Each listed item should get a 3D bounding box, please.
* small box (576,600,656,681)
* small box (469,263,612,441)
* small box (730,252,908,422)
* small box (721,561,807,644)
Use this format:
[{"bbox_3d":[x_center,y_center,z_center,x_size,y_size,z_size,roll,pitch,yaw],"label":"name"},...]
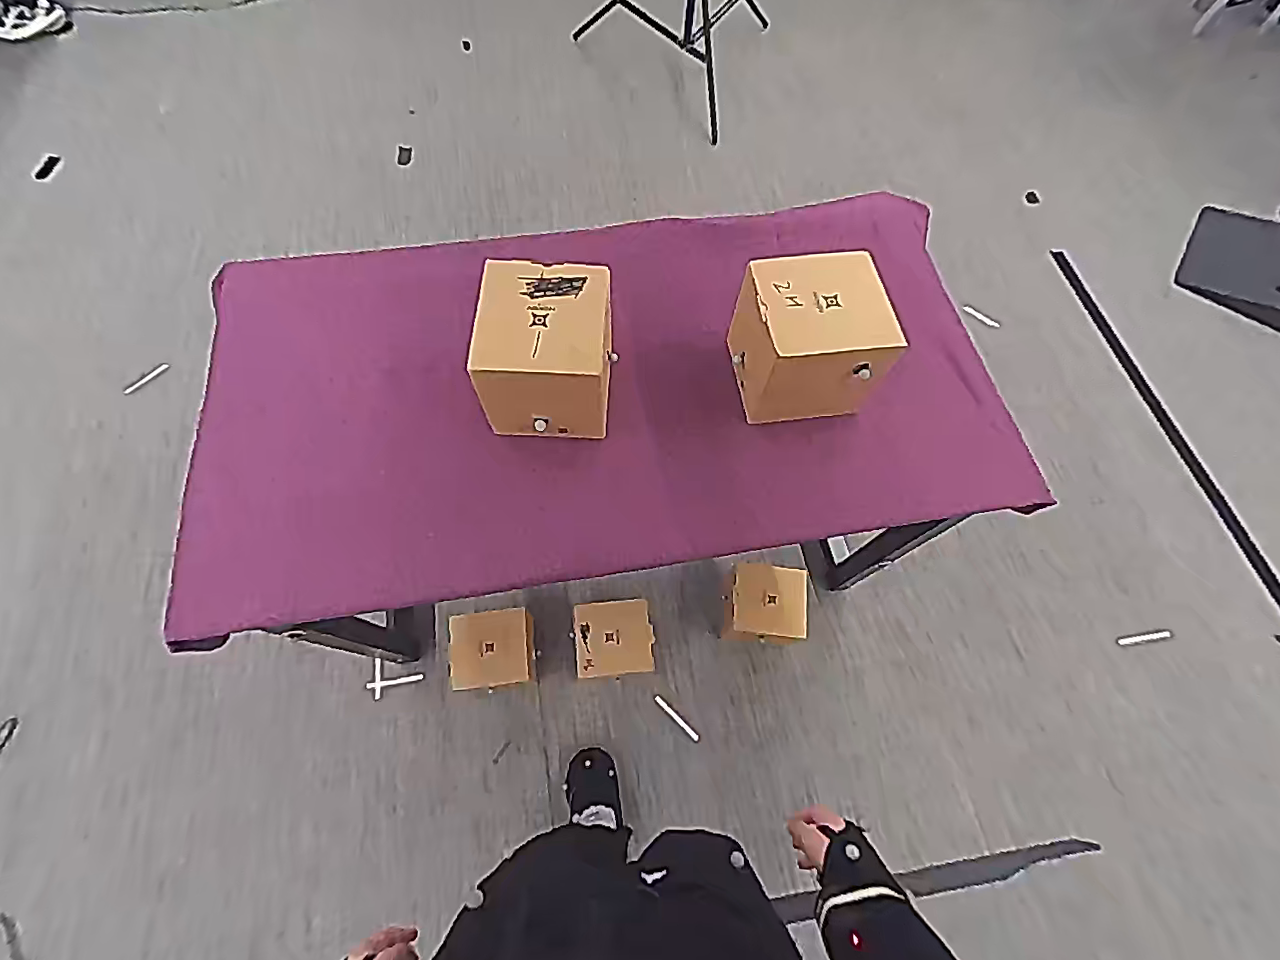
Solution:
[{"bbox_3d":[-0.061,0.391,1.311,0.179,0.176,0.168,-4,67,-4],"label":"small box"},{"bbox_3d":[-0.126,-0.174,0.759,0.168,0.176,0.179,2,67,-1],"label":"small box"},{"bbox_3d":[0.243,-0.199,0.782,0.179,0.176,0.168,-7,66,-4],"label":"small box"},{"bbox_3d":[0.308,0.314,1.358,0.179,0.176,0.168,7,67,2],"label":"small box"}]
